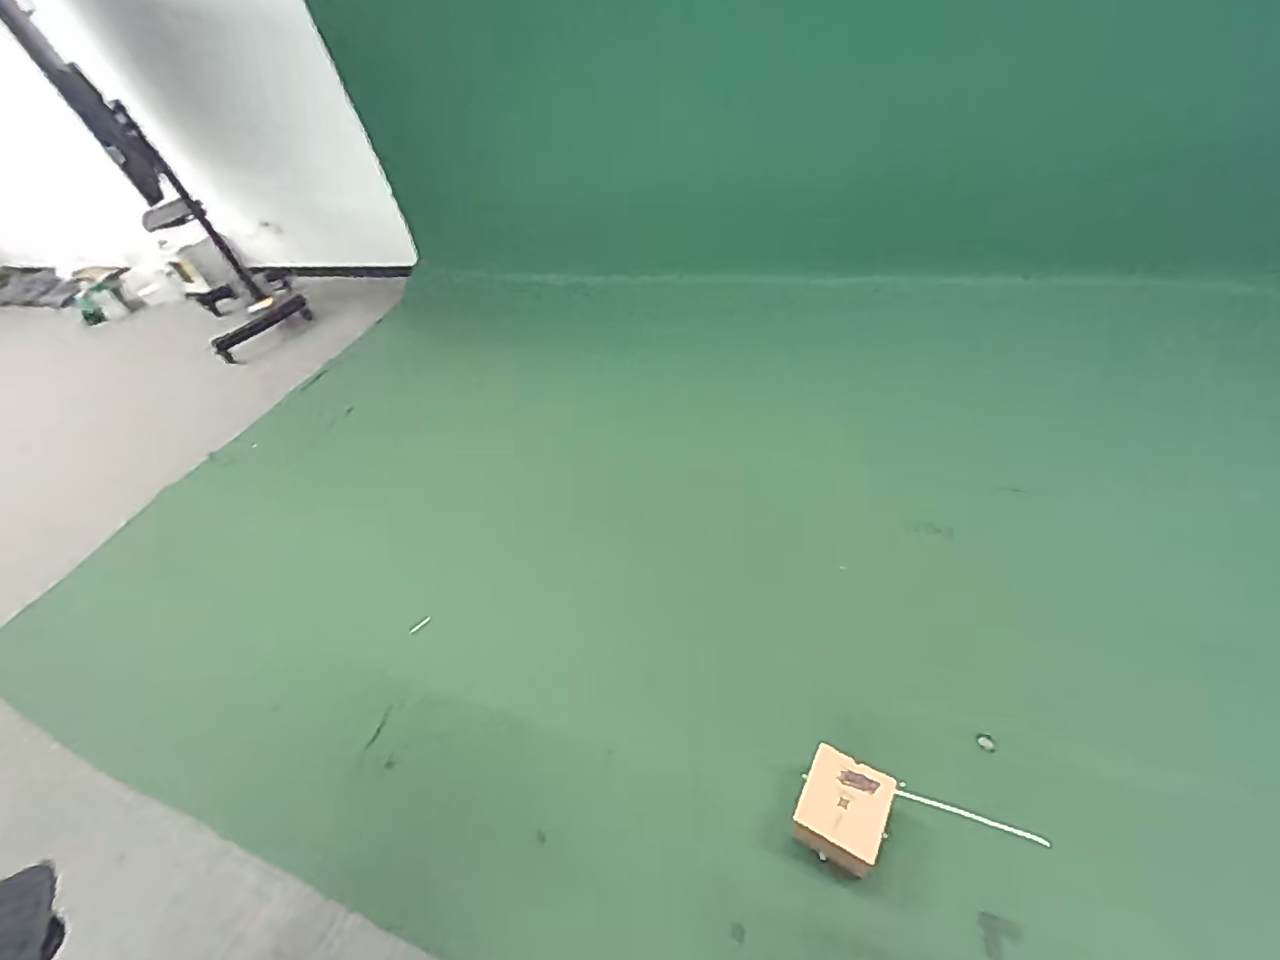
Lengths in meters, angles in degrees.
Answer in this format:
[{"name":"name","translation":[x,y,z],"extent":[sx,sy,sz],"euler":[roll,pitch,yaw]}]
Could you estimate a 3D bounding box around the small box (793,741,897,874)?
[{"name":"small box","translation":[0.442,0.718,1.186],"extent":[0.168,0.176,0.179],"euler":[19,54,28]}]
